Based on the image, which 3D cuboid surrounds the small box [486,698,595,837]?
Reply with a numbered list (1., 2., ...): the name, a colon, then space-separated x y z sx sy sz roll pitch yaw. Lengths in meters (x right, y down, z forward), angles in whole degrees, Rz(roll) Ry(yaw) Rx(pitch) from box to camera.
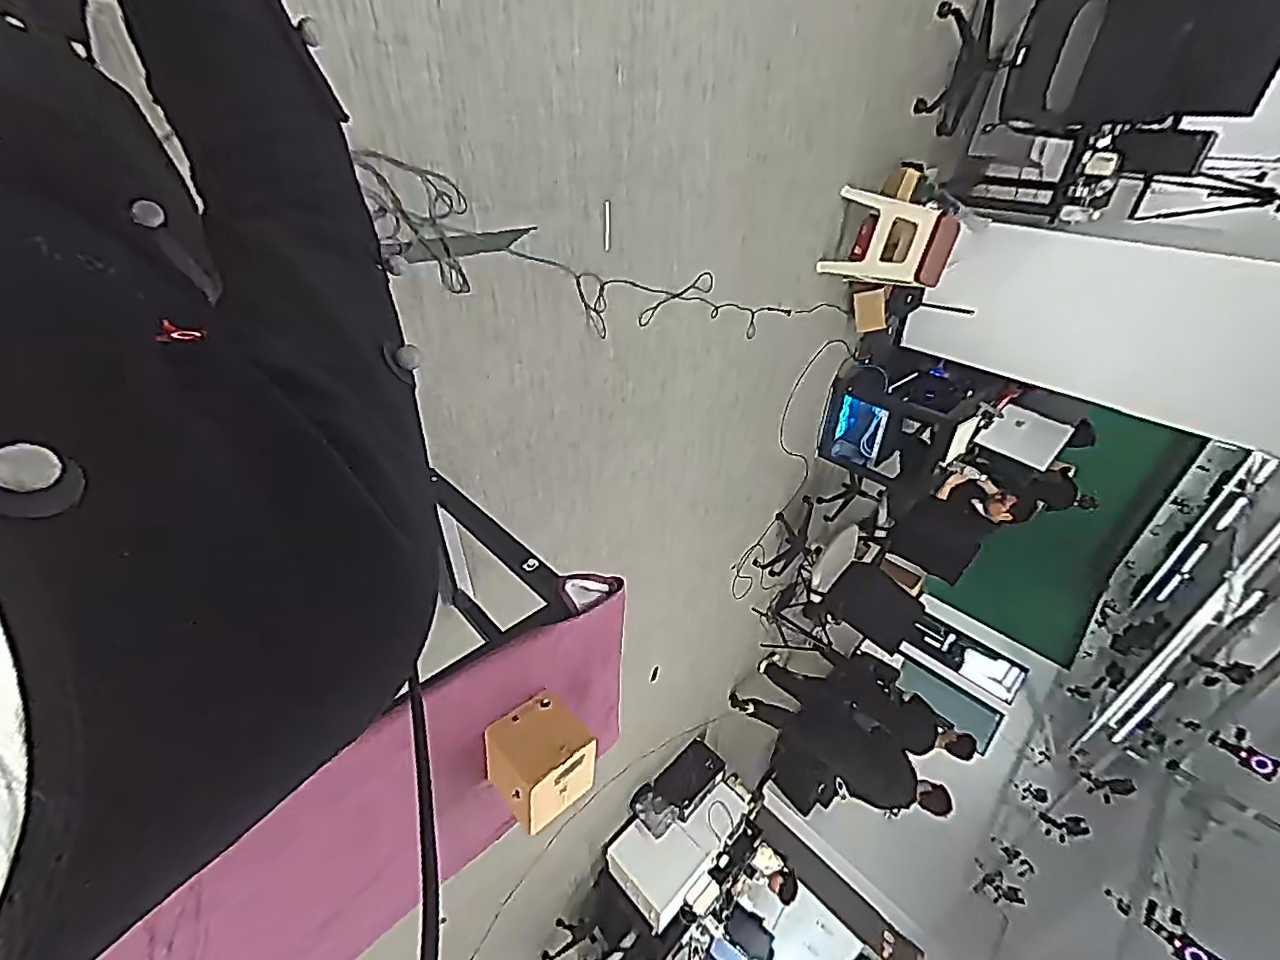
1. small box: -0.215 0.598 1.154 0.168 0.176 0.179 -21 130 -40
